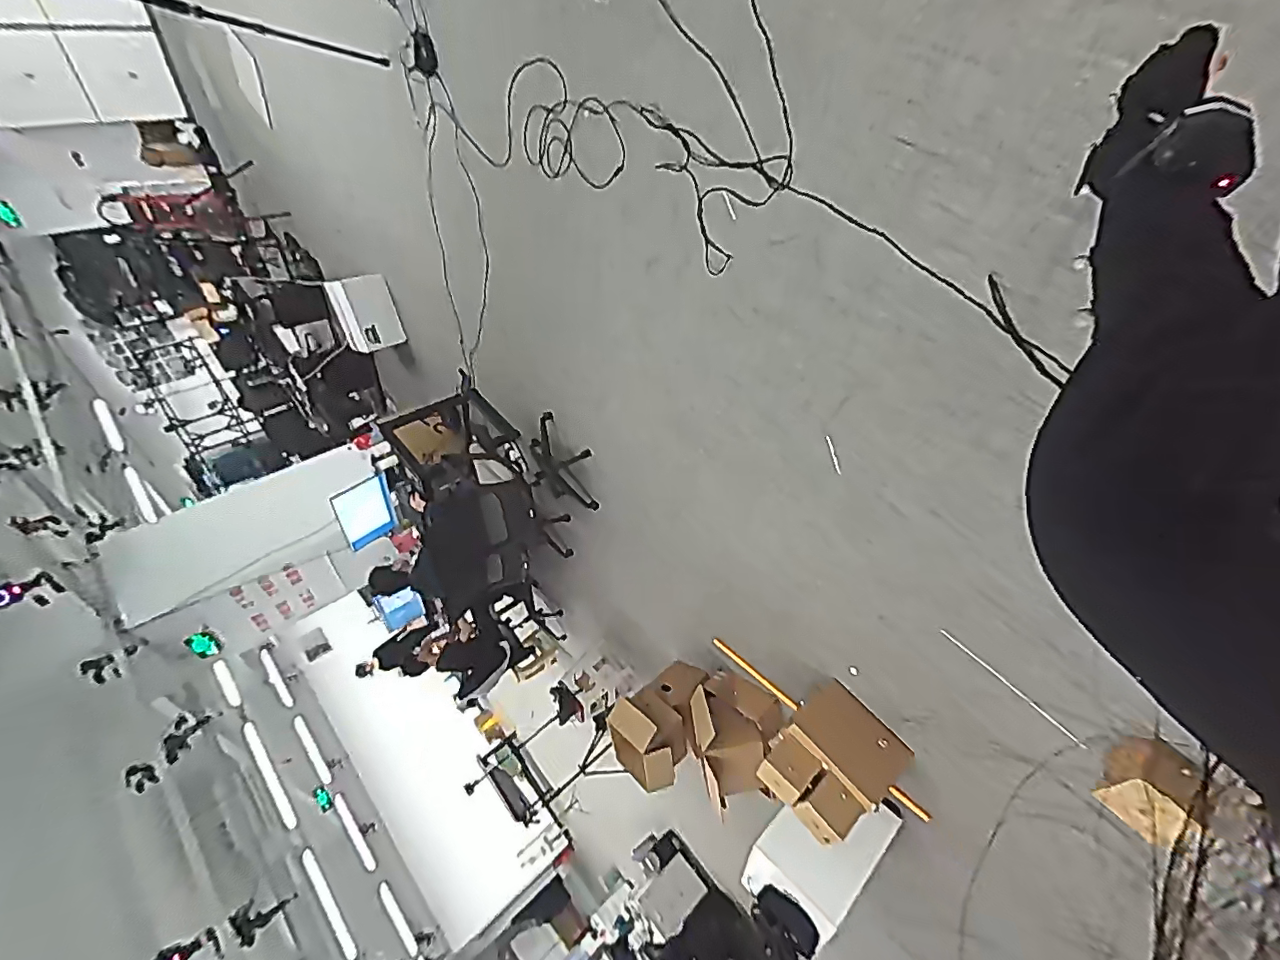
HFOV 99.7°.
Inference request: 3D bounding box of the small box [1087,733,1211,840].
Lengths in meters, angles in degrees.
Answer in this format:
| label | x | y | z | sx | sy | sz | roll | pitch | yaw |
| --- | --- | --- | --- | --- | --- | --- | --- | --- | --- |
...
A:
| label | x | y | z | sx | sy | sz | roll | pitch | yaw |
| --- | --- | --- | --- | --- | --- | --- | --- | --- | --- |
| small box | 1.374 | 0.824 | 1.457 | 0.168 | 0.176 | 0.179 | 42 | 144 | 24 |
